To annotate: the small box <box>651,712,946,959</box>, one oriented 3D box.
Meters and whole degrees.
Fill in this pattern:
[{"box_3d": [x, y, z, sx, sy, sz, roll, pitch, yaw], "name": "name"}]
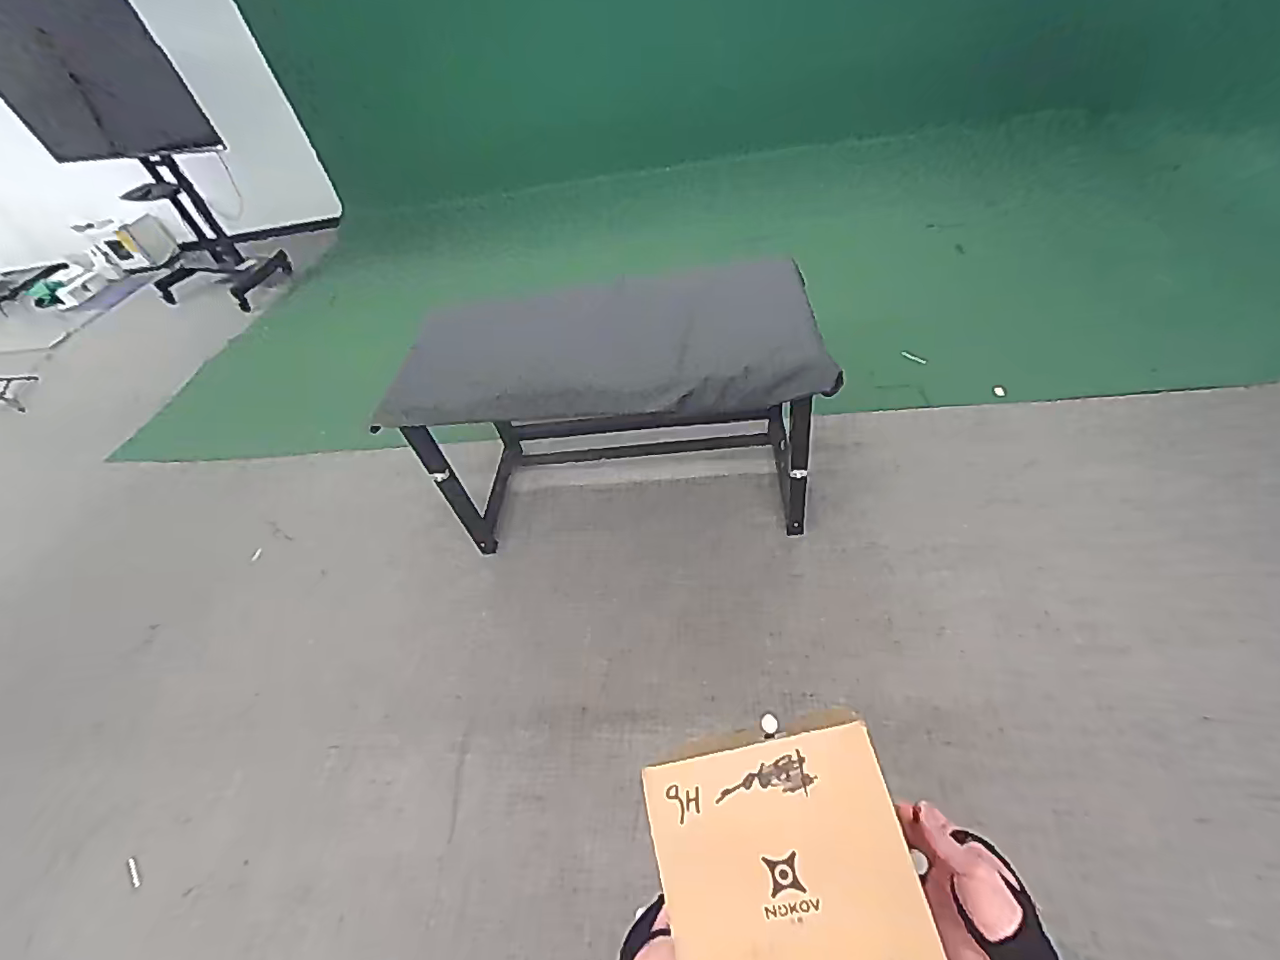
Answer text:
[{"box_3d": [0.124, 0.301, 0.434, 0.168, 0.176, 0.179, -18, 68, 9], "name": "small box"}]
